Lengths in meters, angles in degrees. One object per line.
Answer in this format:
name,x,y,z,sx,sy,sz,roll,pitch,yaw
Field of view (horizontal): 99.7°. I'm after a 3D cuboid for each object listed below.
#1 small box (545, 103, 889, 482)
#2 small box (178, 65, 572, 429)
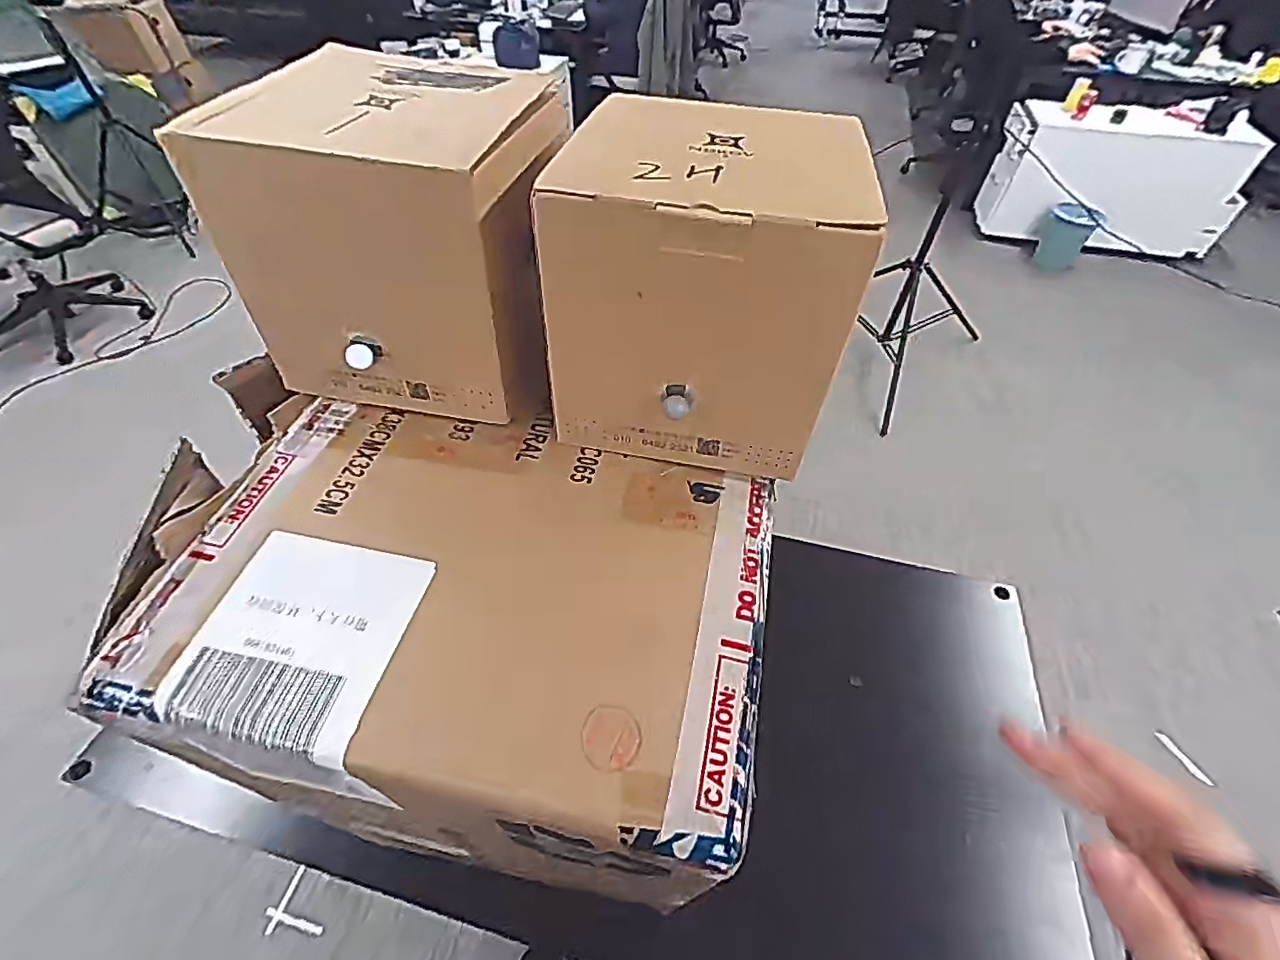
small box,0.045,-0.126,0.364,0.168,0.176,0.179,9,48,6
small box,-0.149,-0.163,0.384,0.168,0.176,0.179,9,48,3
